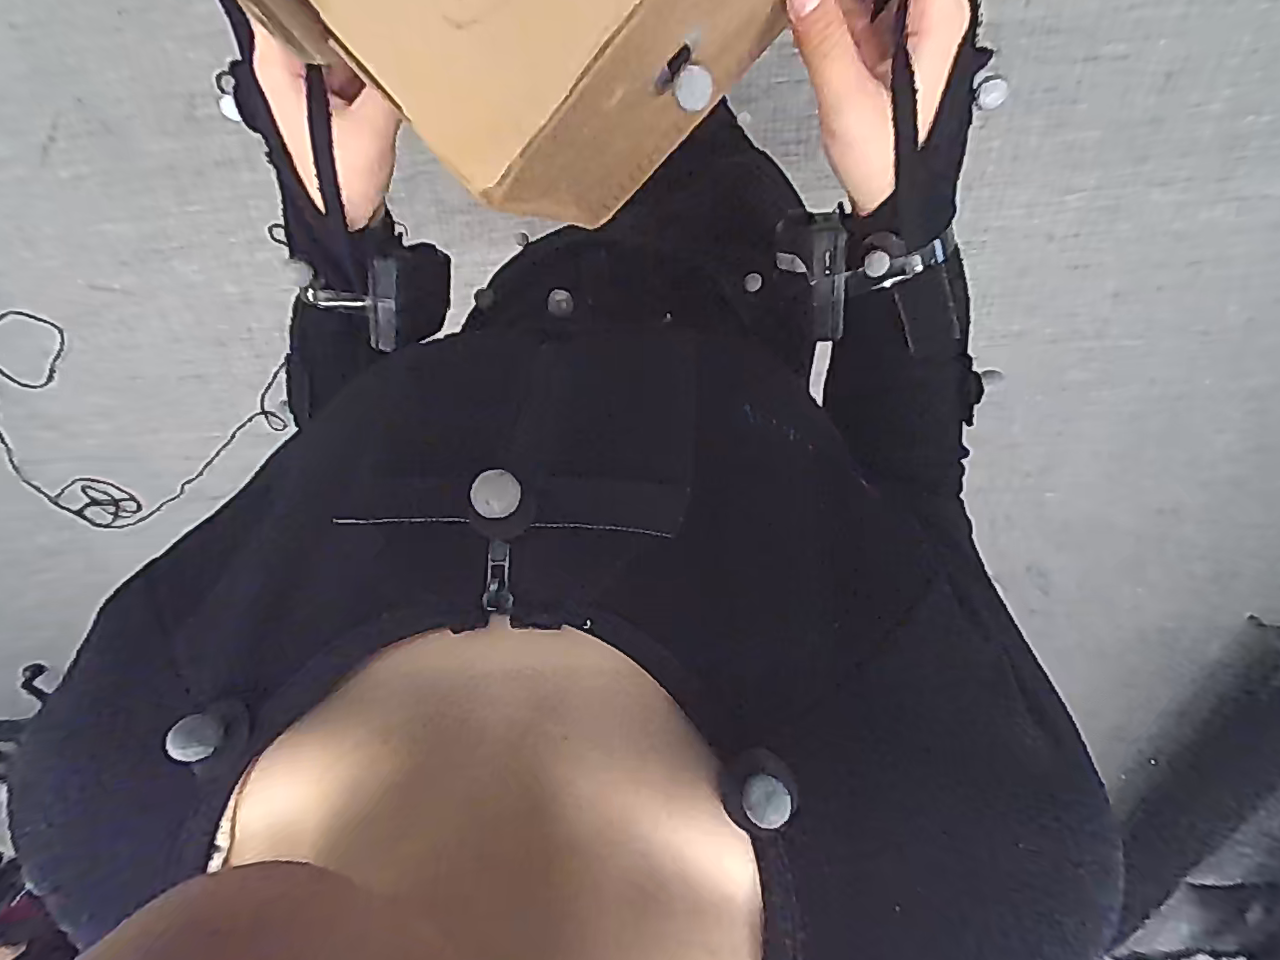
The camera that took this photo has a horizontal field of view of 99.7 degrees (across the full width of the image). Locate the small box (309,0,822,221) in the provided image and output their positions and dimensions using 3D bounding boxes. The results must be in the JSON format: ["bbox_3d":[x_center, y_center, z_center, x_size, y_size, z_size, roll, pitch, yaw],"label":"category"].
[{"bbox_3d":[-0.023,-0.222,0.201,0.179,0.176,0.168,-40,102,21],"label":"small box"}]
